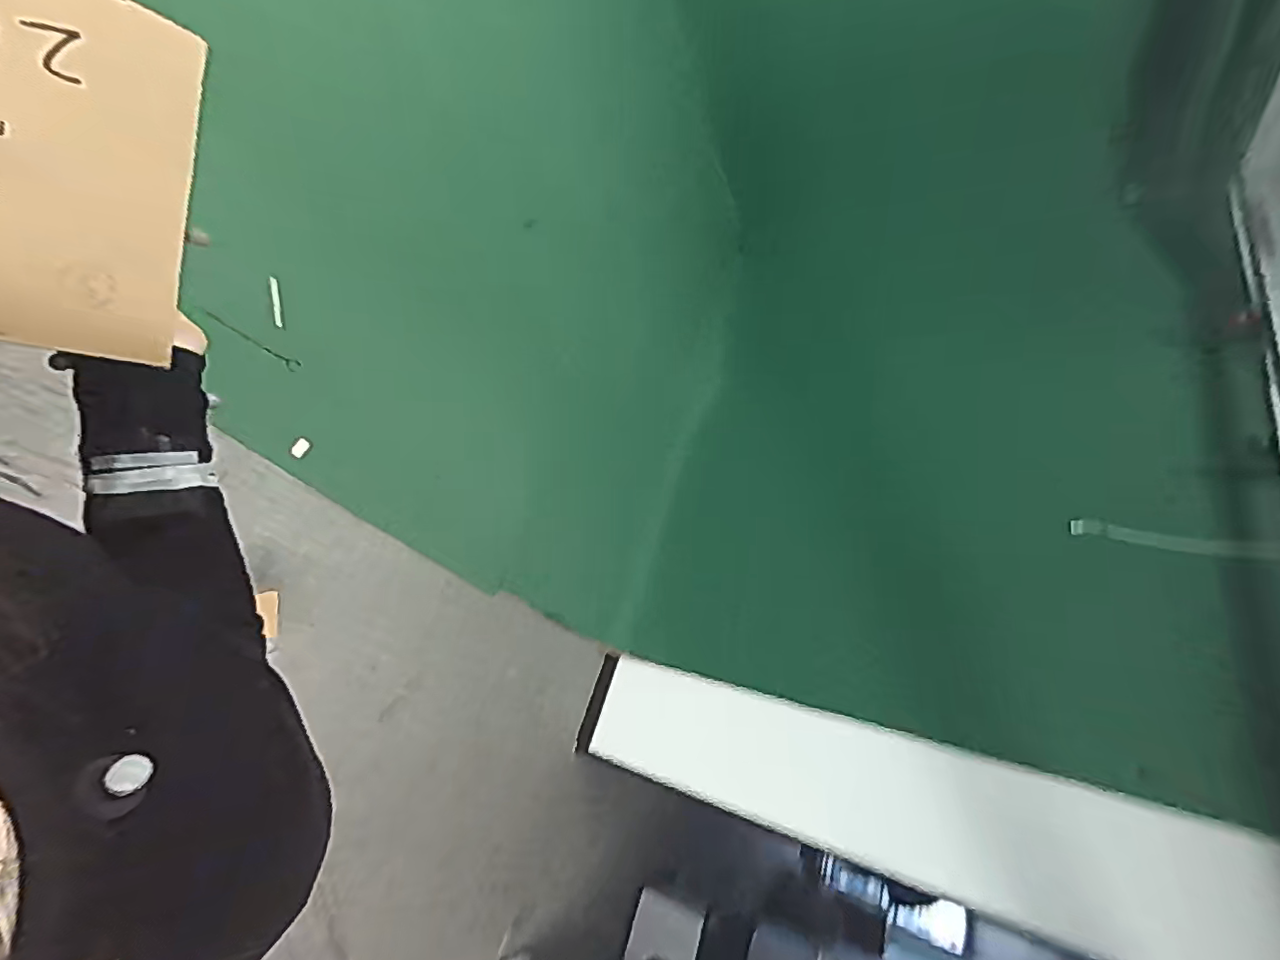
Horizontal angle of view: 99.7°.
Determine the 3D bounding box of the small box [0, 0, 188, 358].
[{"bbox_3d":[-0.360,-0.180,0.284,0.168,0.176,0.179,2,108,-47],"label":"small box"}]
